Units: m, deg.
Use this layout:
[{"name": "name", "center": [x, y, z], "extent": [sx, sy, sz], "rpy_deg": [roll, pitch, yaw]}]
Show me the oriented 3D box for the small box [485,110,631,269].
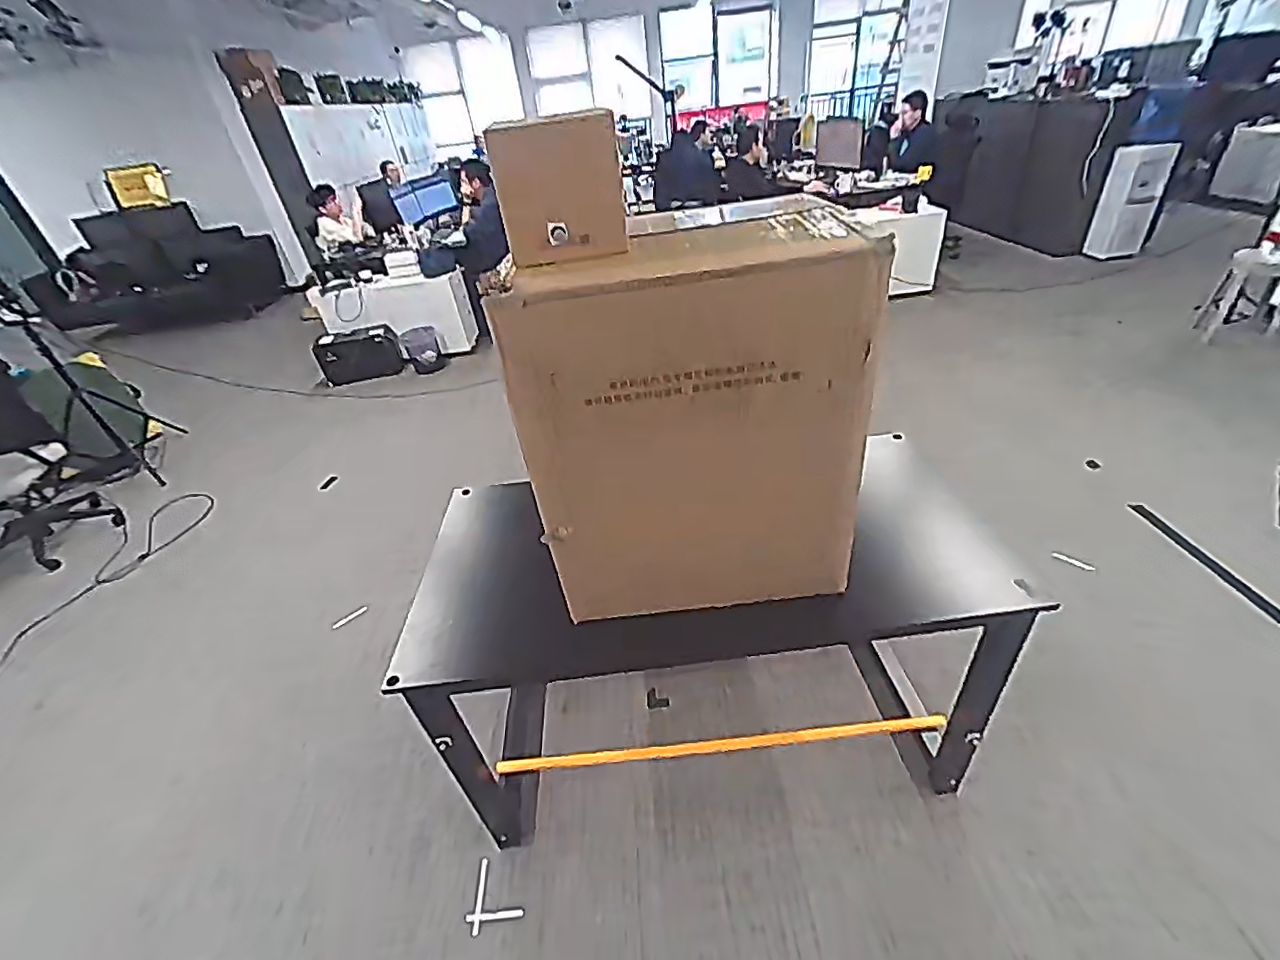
[{"name": "small box", "center": [-0.111, -0.416, 0.773], "extent": [0.168, 0.176, 0.179], "rpy_deg": [-11, 38, -3]}]
